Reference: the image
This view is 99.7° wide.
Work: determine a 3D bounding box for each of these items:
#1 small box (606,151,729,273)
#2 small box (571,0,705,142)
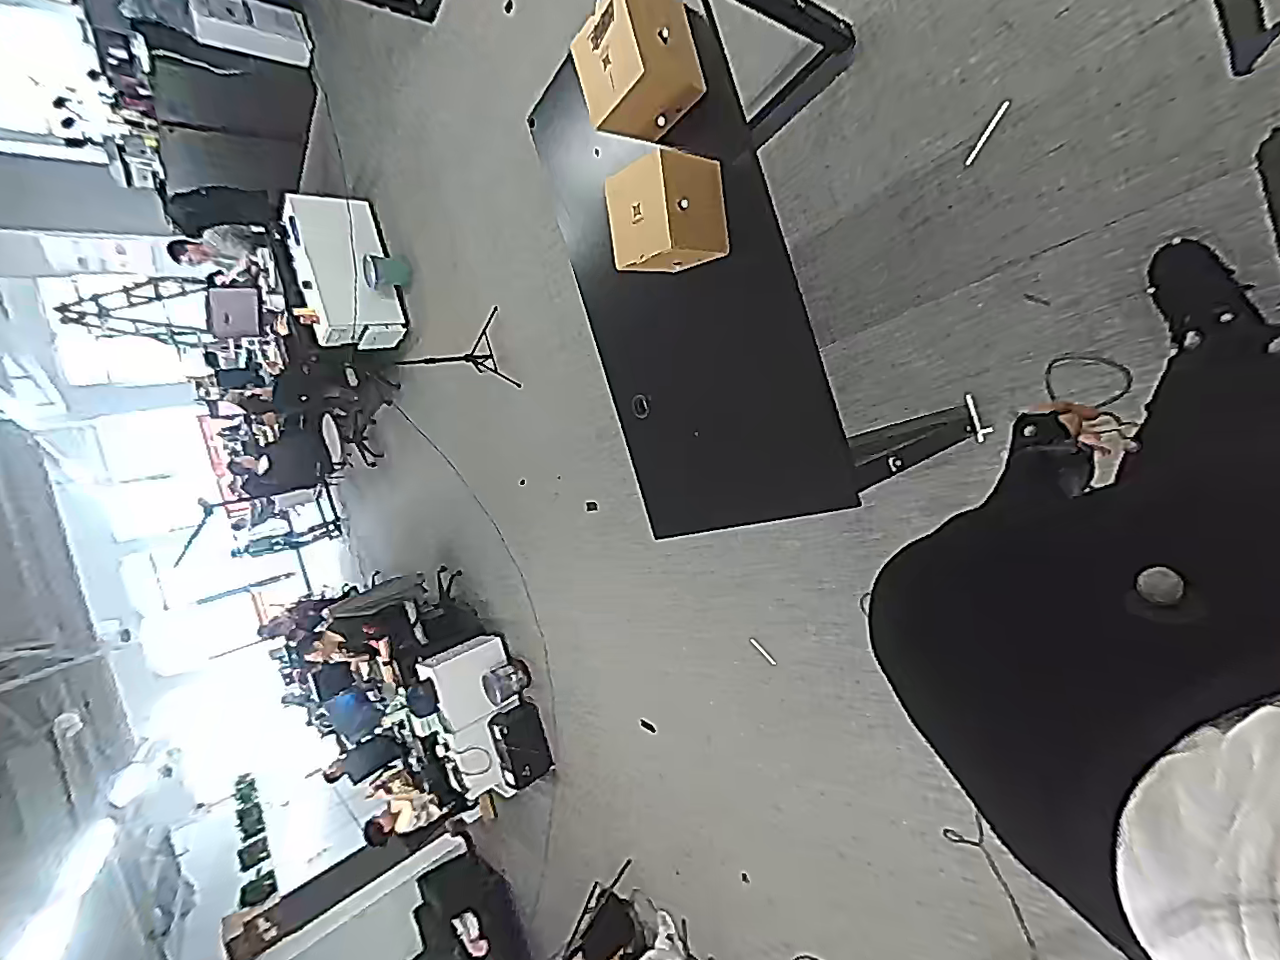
[{"bbox_3d":[0.057,-0.523,1.083,0.168,0.176,0.179,4,107,50],"label":"small box"},{"bbox_3d":[-0.003,-0.795,1.050,0.168,0.176,0.179,-14,94,52],"label":"small box"}]
